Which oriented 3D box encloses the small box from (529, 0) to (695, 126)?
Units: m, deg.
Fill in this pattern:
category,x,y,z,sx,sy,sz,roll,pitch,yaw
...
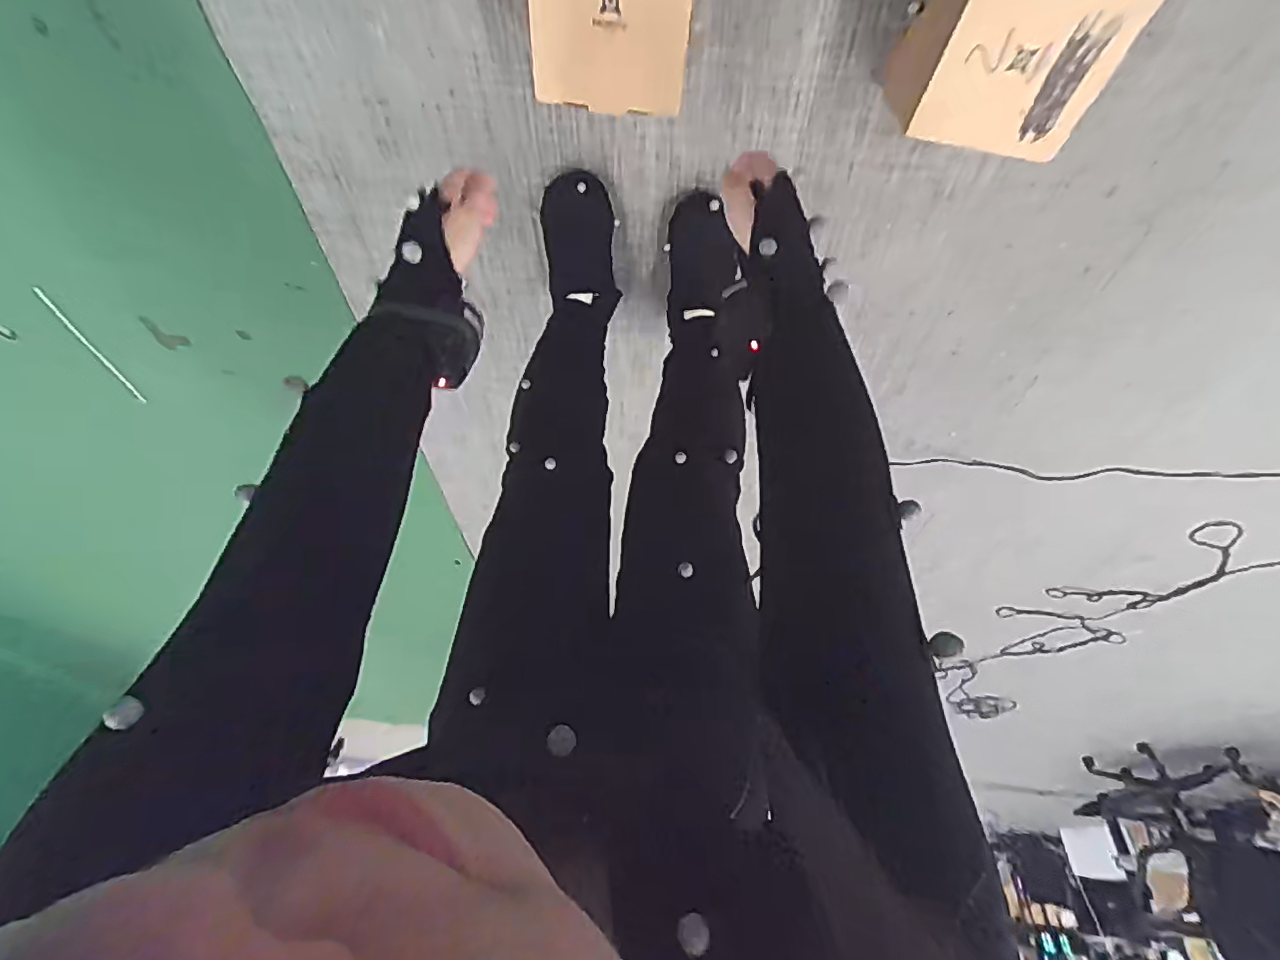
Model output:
category,x,y,z,sx,sy,sz,roll,pitch,yaw
small box,-0.023,-0.531,0.596,0.168,0.176,0.179,7,144,-1
